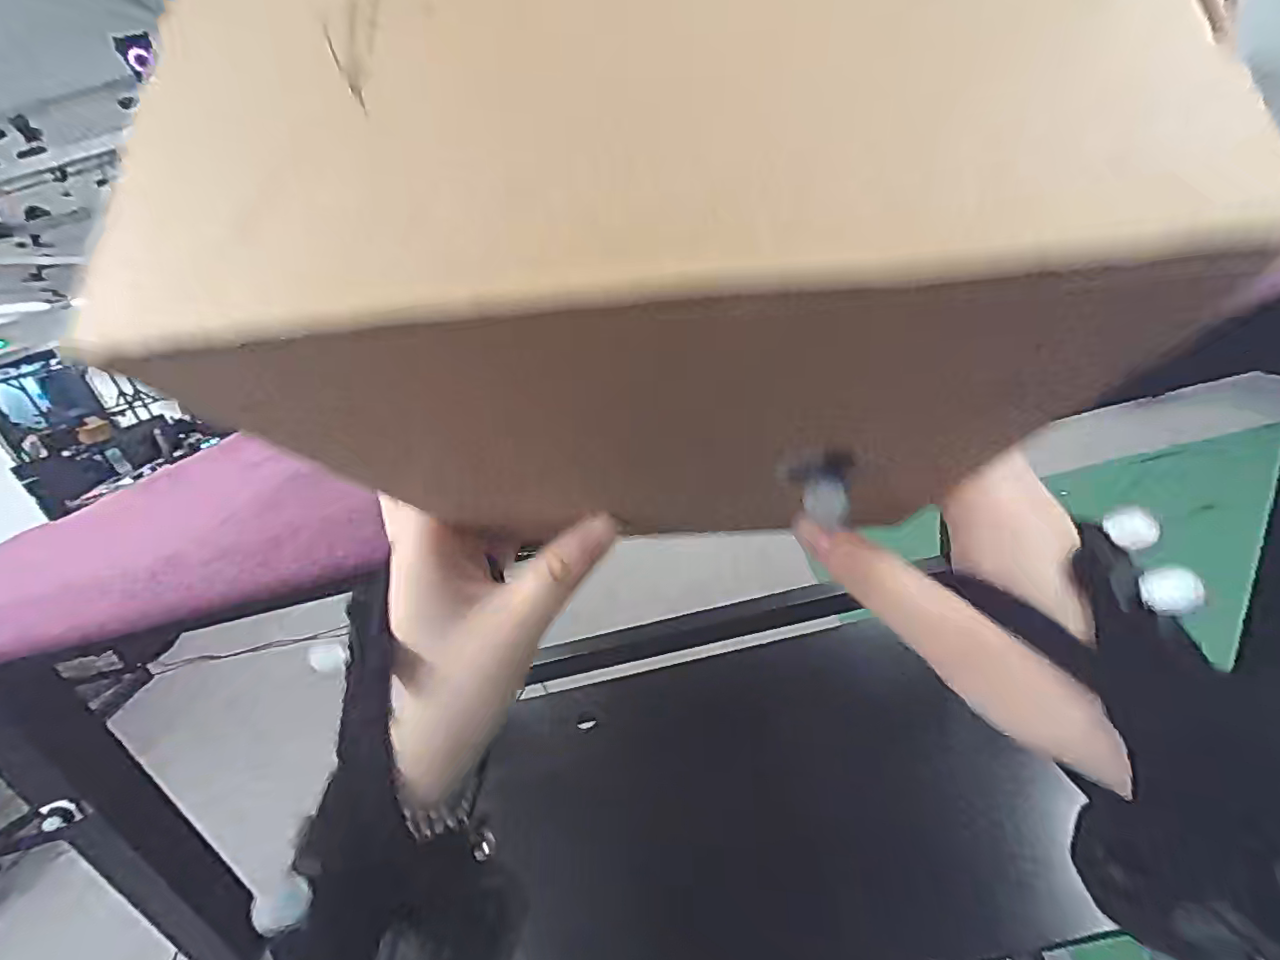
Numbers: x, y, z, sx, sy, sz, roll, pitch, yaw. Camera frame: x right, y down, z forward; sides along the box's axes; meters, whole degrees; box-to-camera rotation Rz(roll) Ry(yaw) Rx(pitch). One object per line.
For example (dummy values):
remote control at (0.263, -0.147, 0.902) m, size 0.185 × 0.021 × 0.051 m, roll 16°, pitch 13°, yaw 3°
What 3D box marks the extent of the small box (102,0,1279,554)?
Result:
small box at (0.007, -0.071, 0.176) m, size 0.179 × 0.168 × 0.176 m, roll -3°, pitch -17°, yaw 9°
